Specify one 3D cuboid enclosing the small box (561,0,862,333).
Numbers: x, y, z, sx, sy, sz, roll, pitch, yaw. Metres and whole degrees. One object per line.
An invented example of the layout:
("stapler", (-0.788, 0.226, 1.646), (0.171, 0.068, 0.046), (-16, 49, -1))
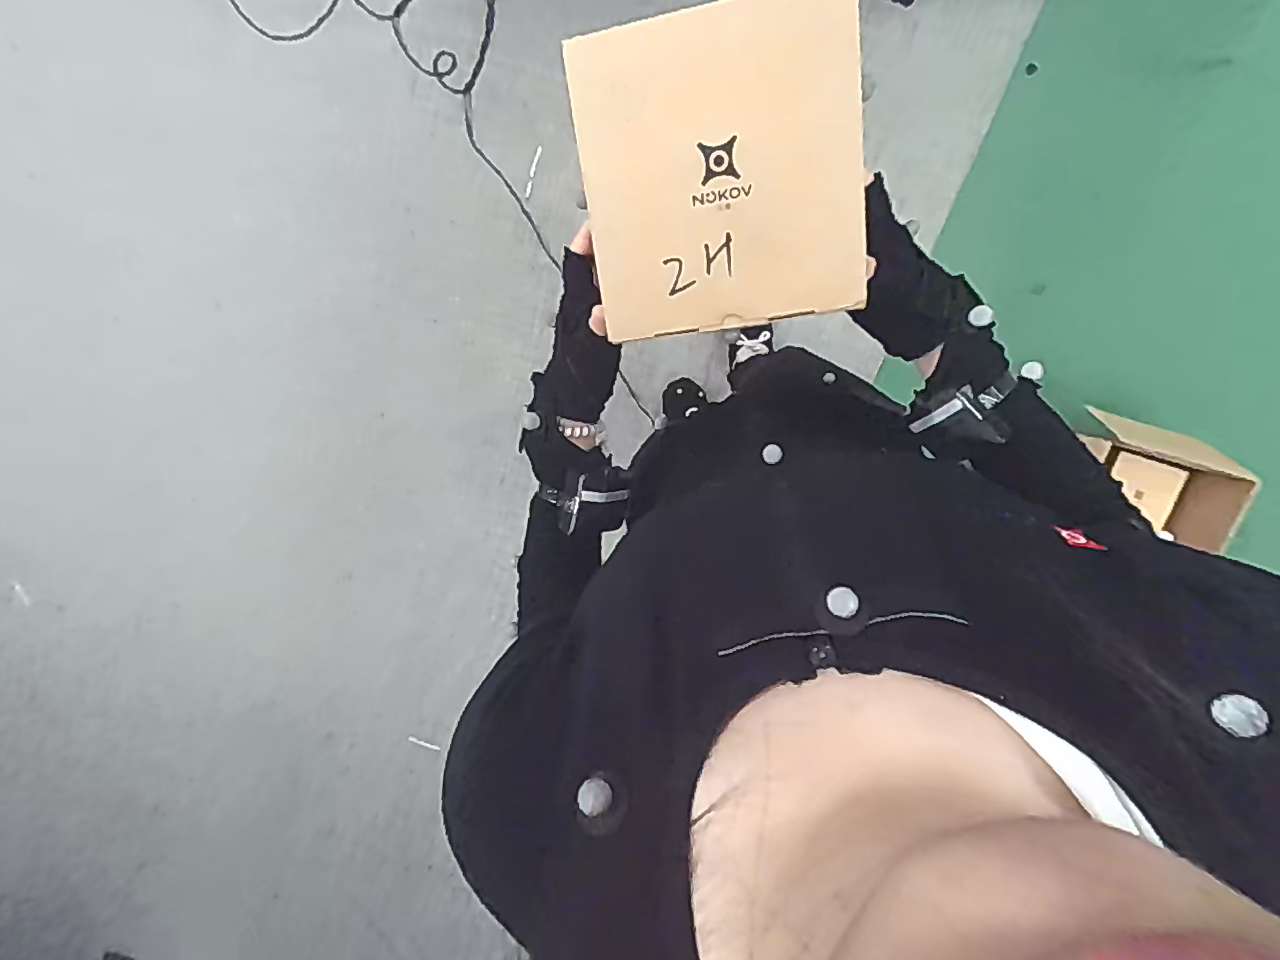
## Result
("small box", (0.055, -0.208, 0.394), (0.168, 0.176, 0.179), (-5, 107, 11))
